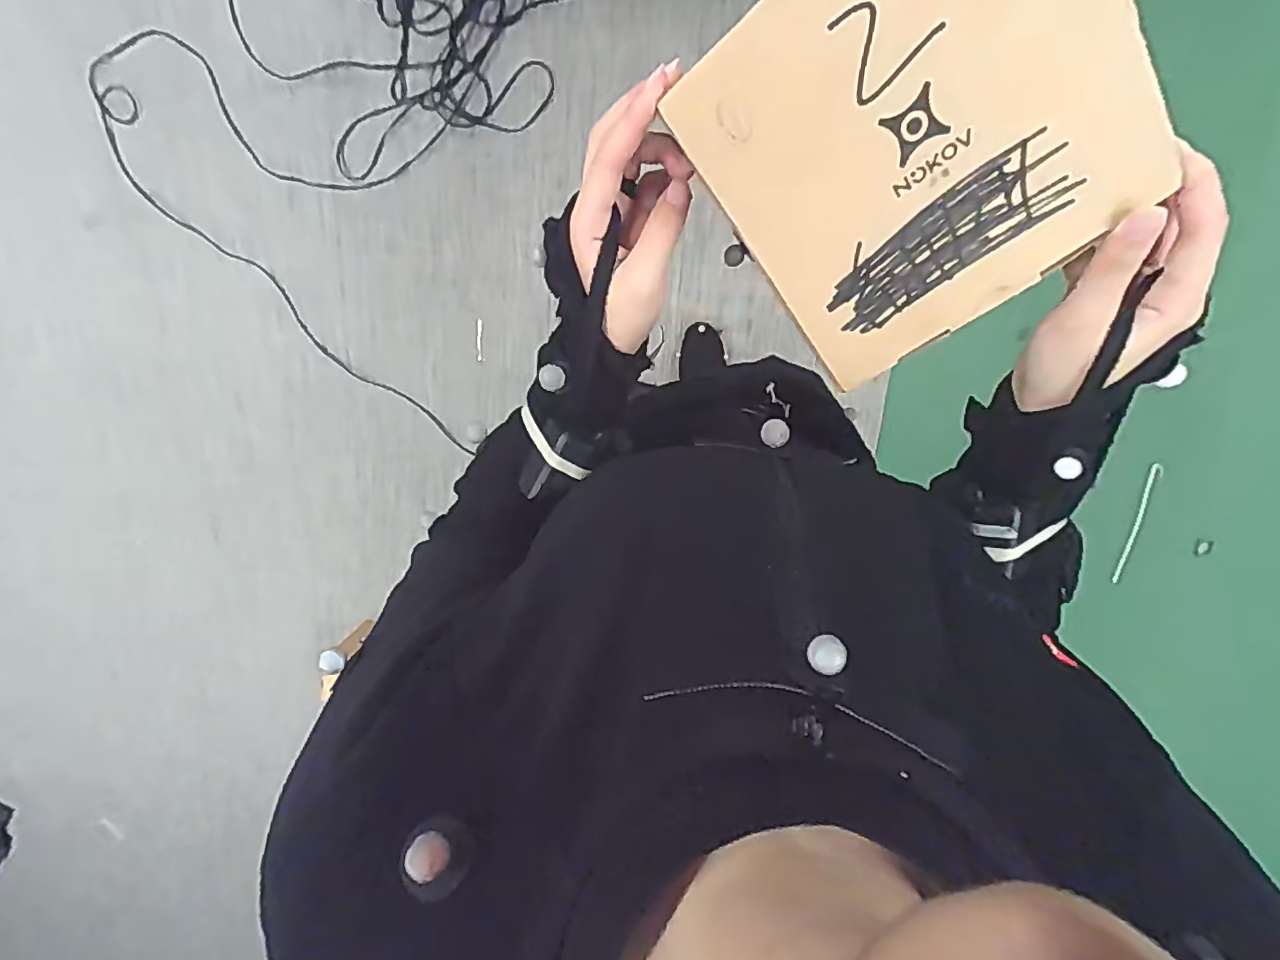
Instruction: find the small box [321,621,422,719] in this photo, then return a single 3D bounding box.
[{"bbox_3d":[-0.740,0.517,1.502,0.179,0.176,0.168,21,107,-3],"label":"small box"}]
